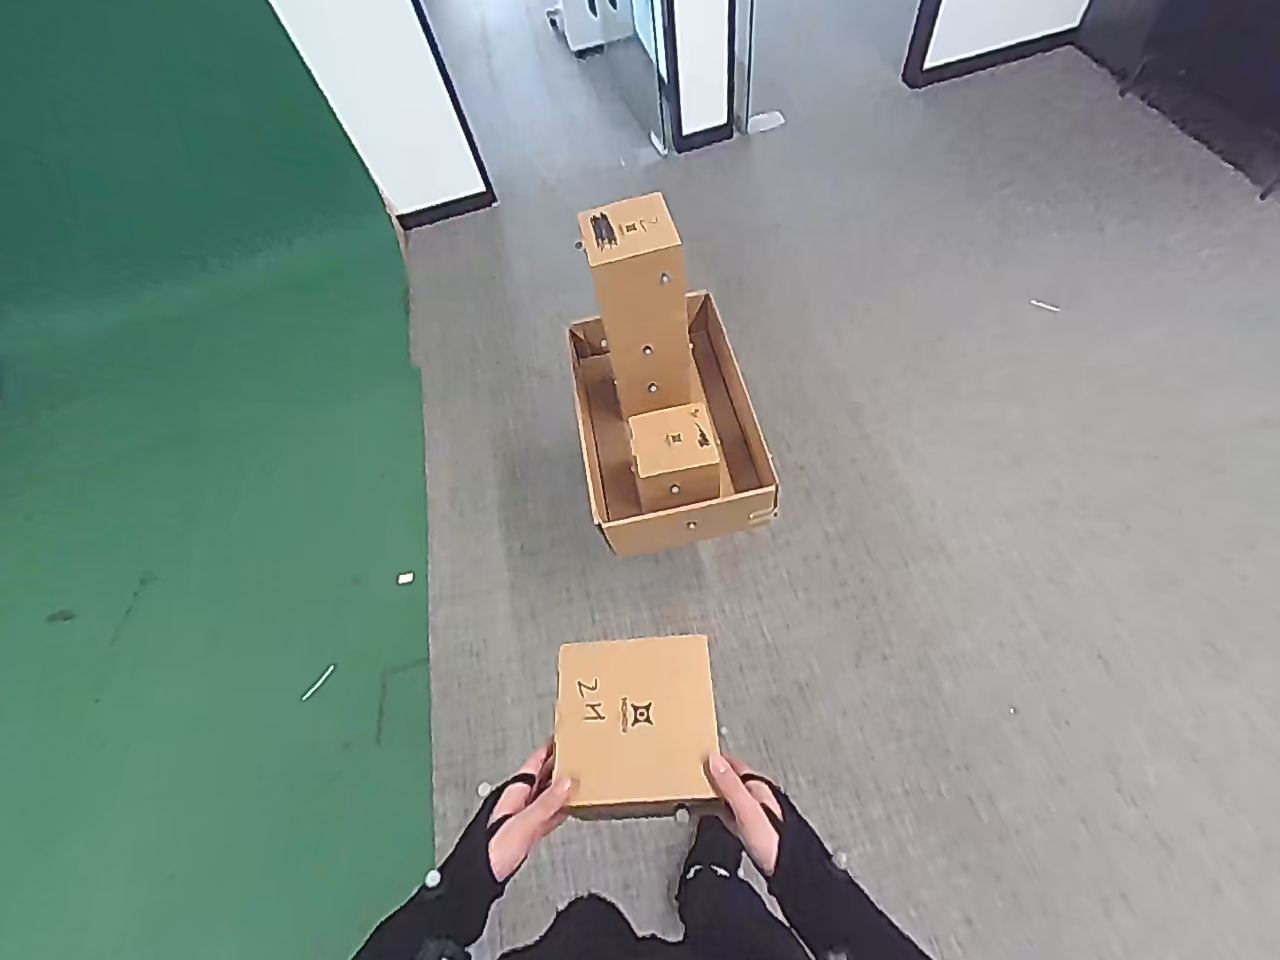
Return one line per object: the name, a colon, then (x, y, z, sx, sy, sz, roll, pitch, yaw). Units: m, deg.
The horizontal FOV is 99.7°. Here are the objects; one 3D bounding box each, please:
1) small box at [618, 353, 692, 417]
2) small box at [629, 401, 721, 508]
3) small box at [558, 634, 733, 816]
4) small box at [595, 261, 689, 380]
small box: (0.031, -0.280, 1.366, 0.179, 0.176, 0.168, -13, 61, 1)
small box: (0.082, -0.051, 1.229, 0.179, 0.176, 0.168, -11, 60, 3)
small box: (0.010, 0.295, 0.641, 0.179, 0.176, 0.168, -5, 53, 4)
small box: (0.010, -0.354, 1.222, 0.179, 0.176, 0.168, -15, 61, 1)
